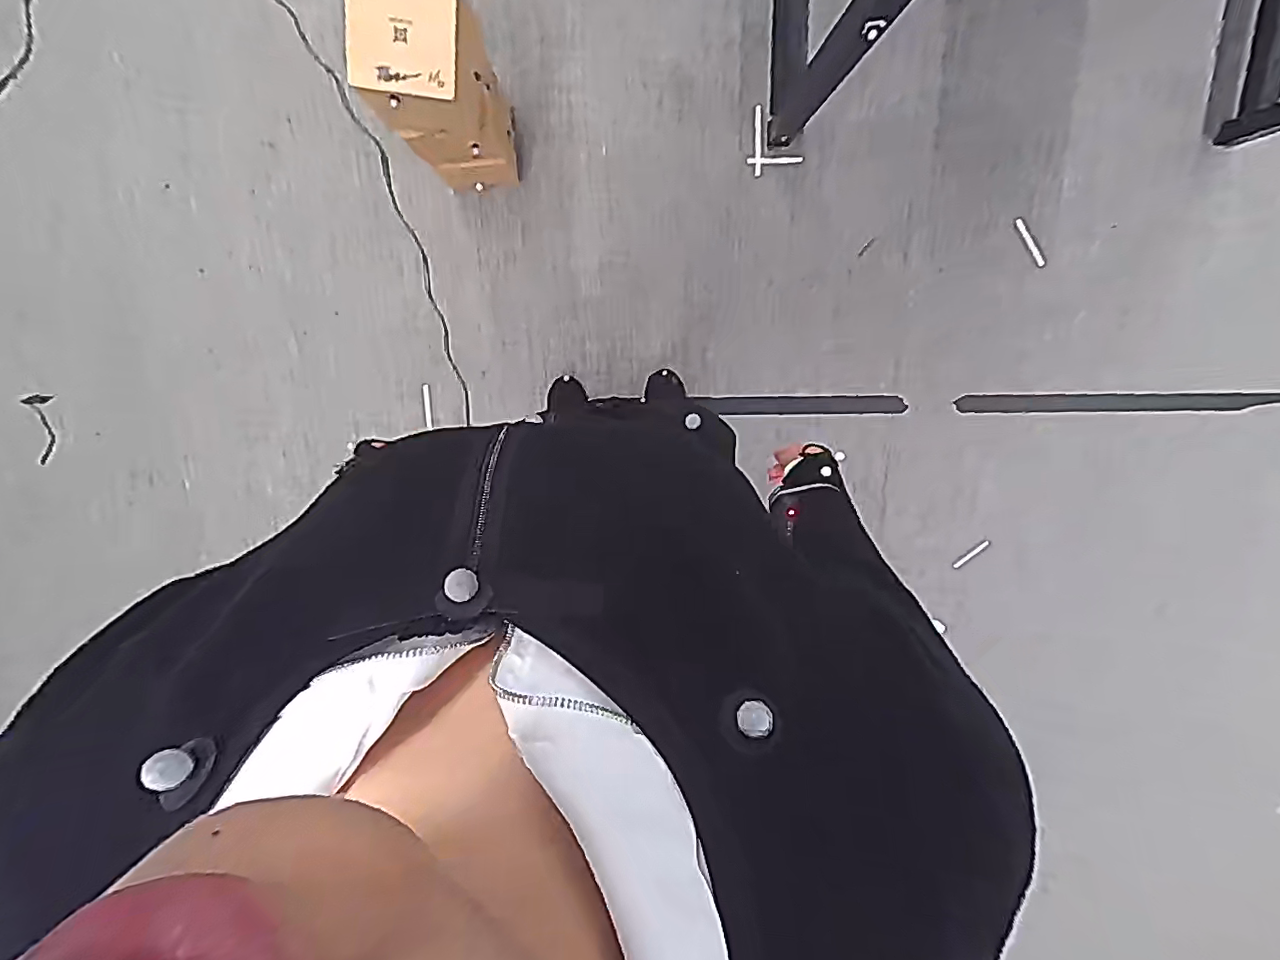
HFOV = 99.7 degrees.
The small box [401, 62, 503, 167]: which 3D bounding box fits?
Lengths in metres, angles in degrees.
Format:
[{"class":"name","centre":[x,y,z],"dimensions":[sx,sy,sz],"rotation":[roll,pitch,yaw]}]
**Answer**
[{"class":"small box","centre":[-0.379,-0.741,1.069],"dimensions":[0.168,0.176,0.179],"rotation":[-9,102,-1]}]

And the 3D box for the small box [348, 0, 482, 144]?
[{"class":"small box","centre":[-0.369,-0.704,0.910],"dimensions":[0.168,0.176,0.179],"rotation":[5,102,-4]}]

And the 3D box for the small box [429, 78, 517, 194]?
[{"class":"small box","centre":[-0.382,-0.773,1.228],"dimensions":[0.168,0.176,0.179],"rotation":[-5,104,-1]}]
